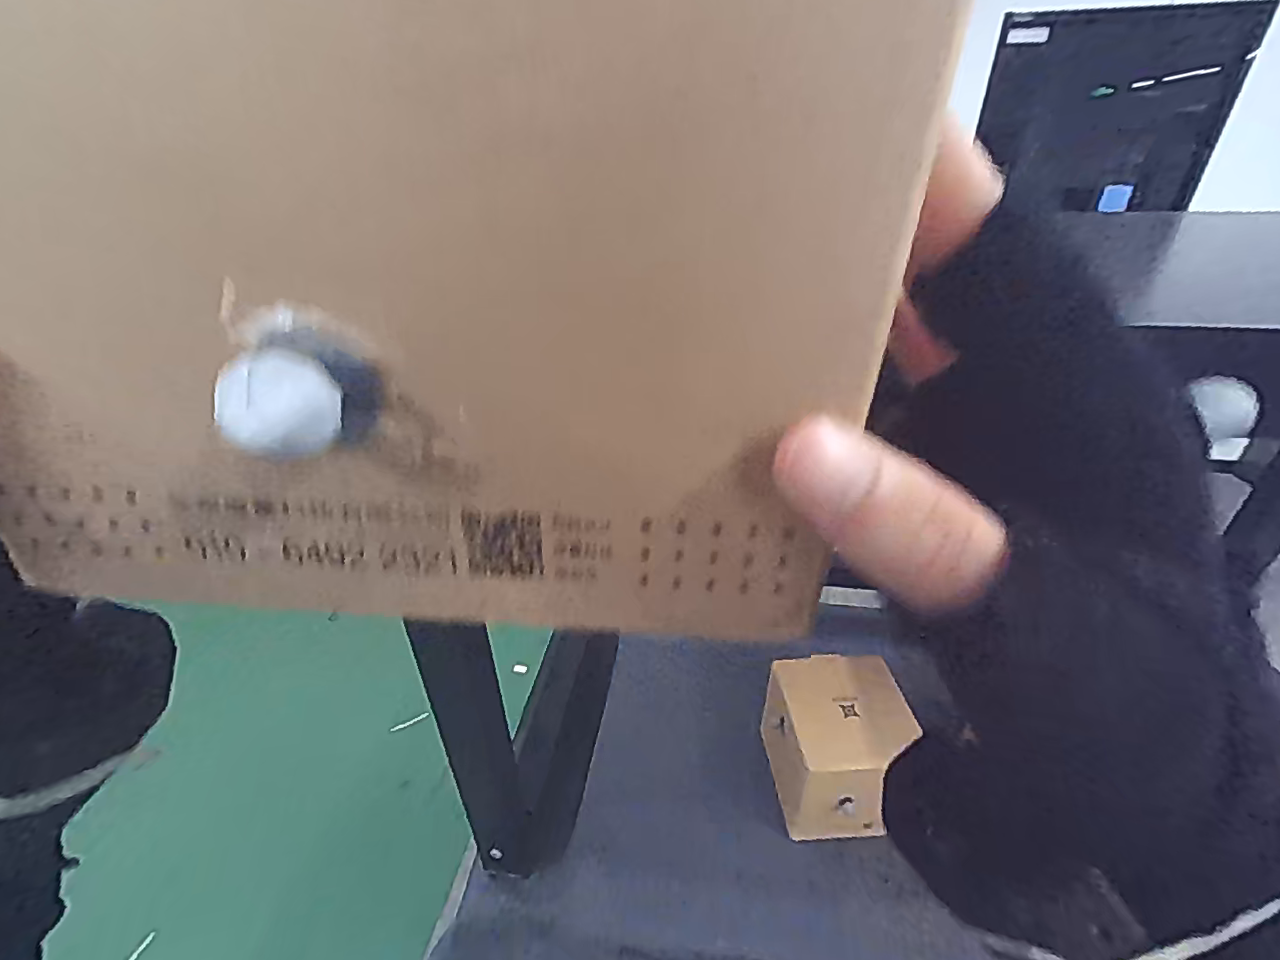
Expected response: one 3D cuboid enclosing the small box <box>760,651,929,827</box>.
[{"bbox_3d":[0.278,0.373,0.778,0.168,0.176,0.179,-2,31,-2],"label":"small box"}]
